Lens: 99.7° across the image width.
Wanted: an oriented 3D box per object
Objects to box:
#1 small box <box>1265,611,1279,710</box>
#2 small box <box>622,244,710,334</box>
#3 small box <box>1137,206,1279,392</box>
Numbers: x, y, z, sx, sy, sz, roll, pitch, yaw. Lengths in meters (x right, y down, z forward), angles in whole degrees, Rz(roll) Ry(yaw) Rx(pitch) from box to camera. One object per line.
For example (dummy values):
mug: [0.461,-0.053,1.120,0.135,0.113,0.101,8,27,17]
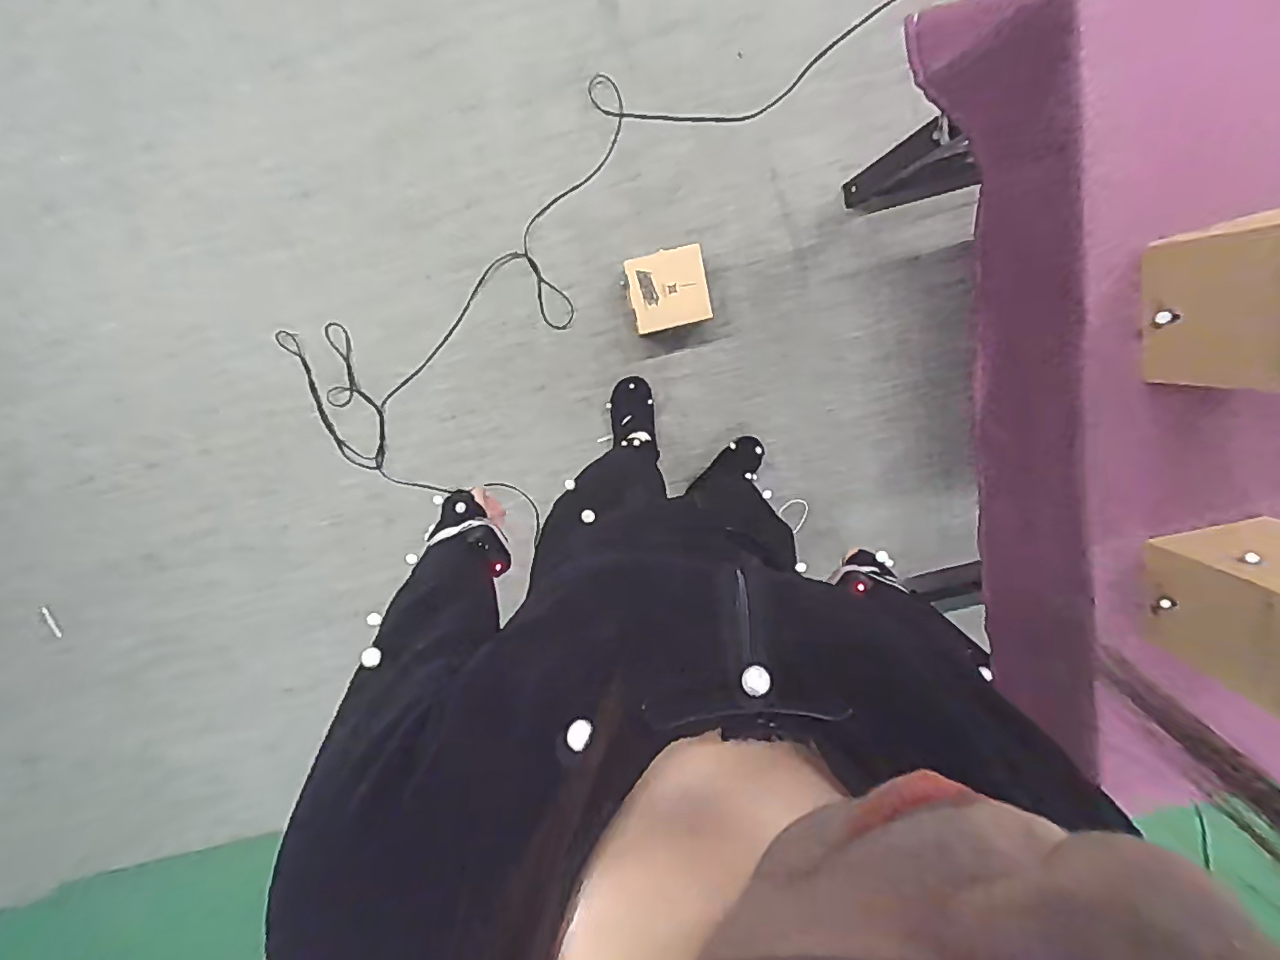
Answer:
small box: [0.830,0.202,0.564,0.179,0.176,0.168,-14,105,2]
small box: [0.059,-0.449,1.295,0.179,0.176,0.168,-13,105,1]
small box: [0.724,-0.215,0.622,0.168,0.176,0.179,-16,105,2]
